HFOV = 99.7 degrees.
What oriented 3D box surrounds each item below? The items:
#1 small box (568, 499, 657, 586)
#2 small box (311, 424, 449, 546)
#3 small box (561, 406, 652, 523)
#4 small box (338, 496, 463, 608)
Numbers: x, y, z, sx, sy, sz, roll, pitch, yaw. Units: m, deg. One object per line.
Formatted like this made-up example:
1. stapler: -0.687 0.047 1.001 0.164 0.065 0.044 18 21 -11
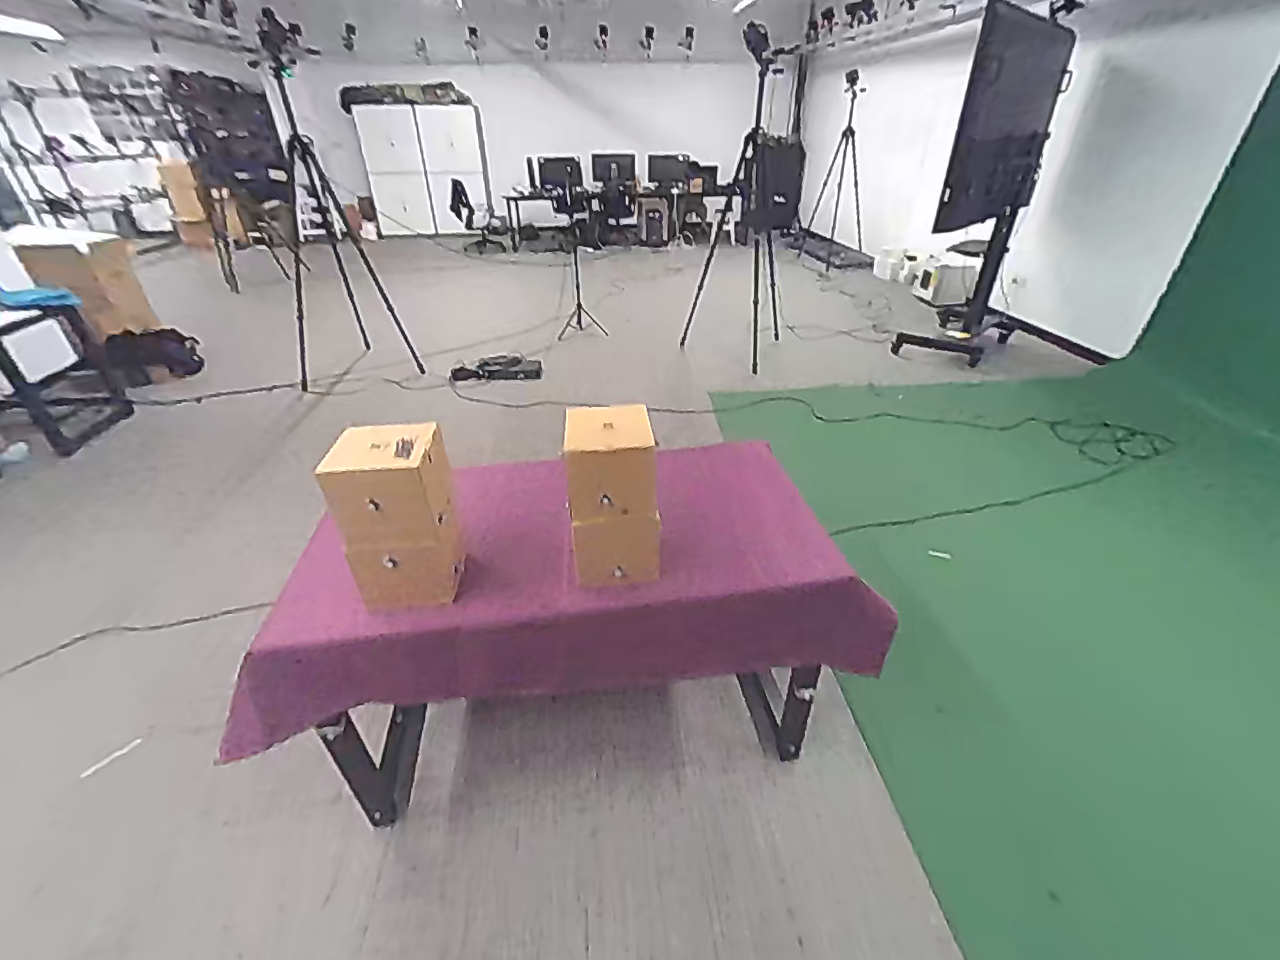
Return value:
1. small box: -0.063 0.109 1.166 0.179 0.176 0.168 -4 33 -5
2. small box: -0.476 0.009 1.026 0.179 0.176 0.168 -4 34 -4
3. small box: -0.068 -0.033 1.085 0.168 0.176 0.179 -4 34 -4
4. small box: -0.479 0.148 1.113 0.179 0.176 0.168 -3 34 -5
